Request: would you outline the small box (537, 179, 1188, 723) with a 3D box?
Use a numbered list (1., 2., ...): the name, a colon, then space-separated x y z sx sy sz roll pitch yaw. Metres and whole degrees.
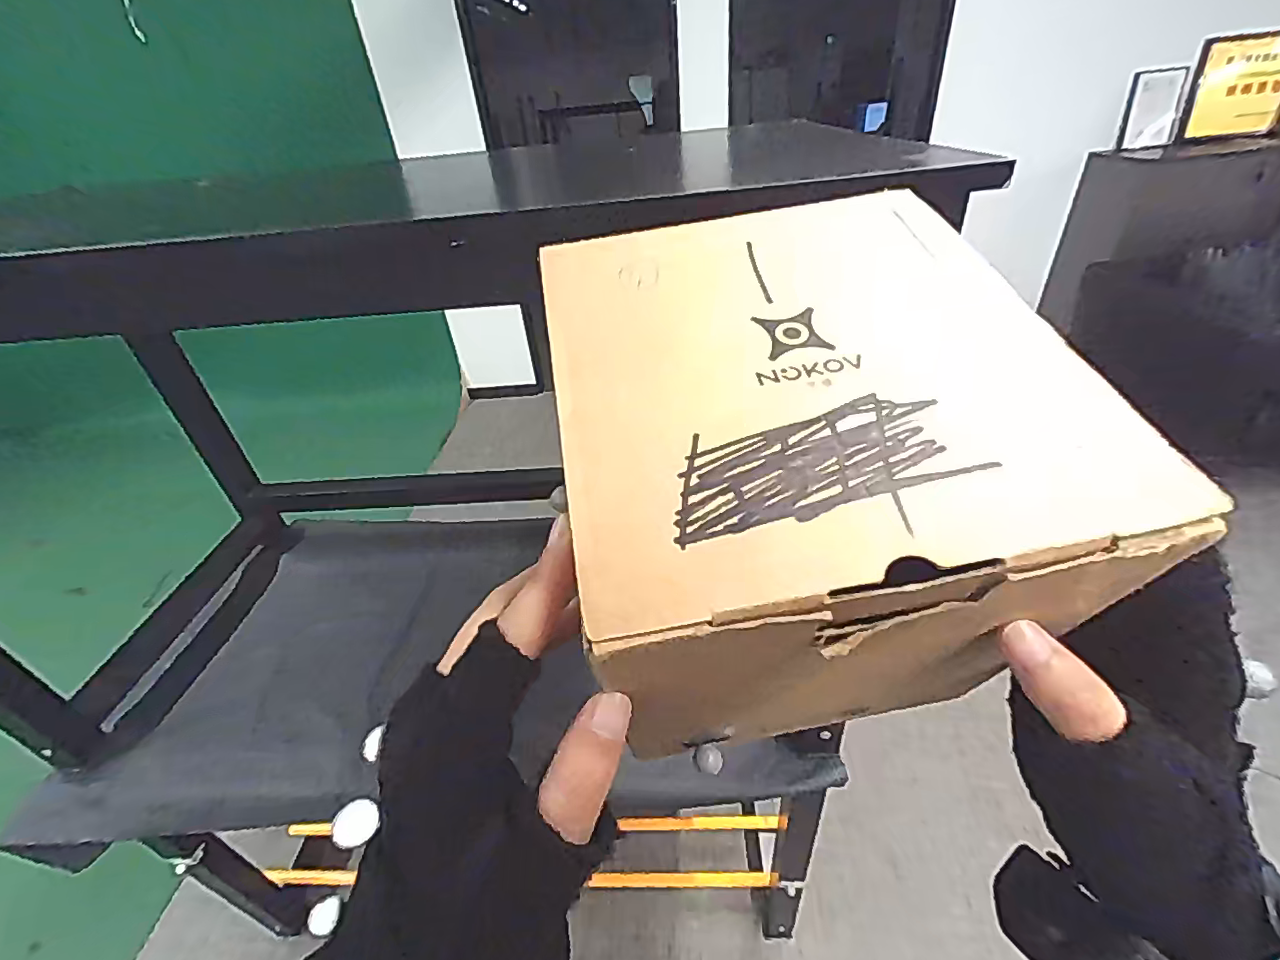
1. small box: 0.055 -0.002 0.249 0.168 0.176 0.179 -10 53 -3
